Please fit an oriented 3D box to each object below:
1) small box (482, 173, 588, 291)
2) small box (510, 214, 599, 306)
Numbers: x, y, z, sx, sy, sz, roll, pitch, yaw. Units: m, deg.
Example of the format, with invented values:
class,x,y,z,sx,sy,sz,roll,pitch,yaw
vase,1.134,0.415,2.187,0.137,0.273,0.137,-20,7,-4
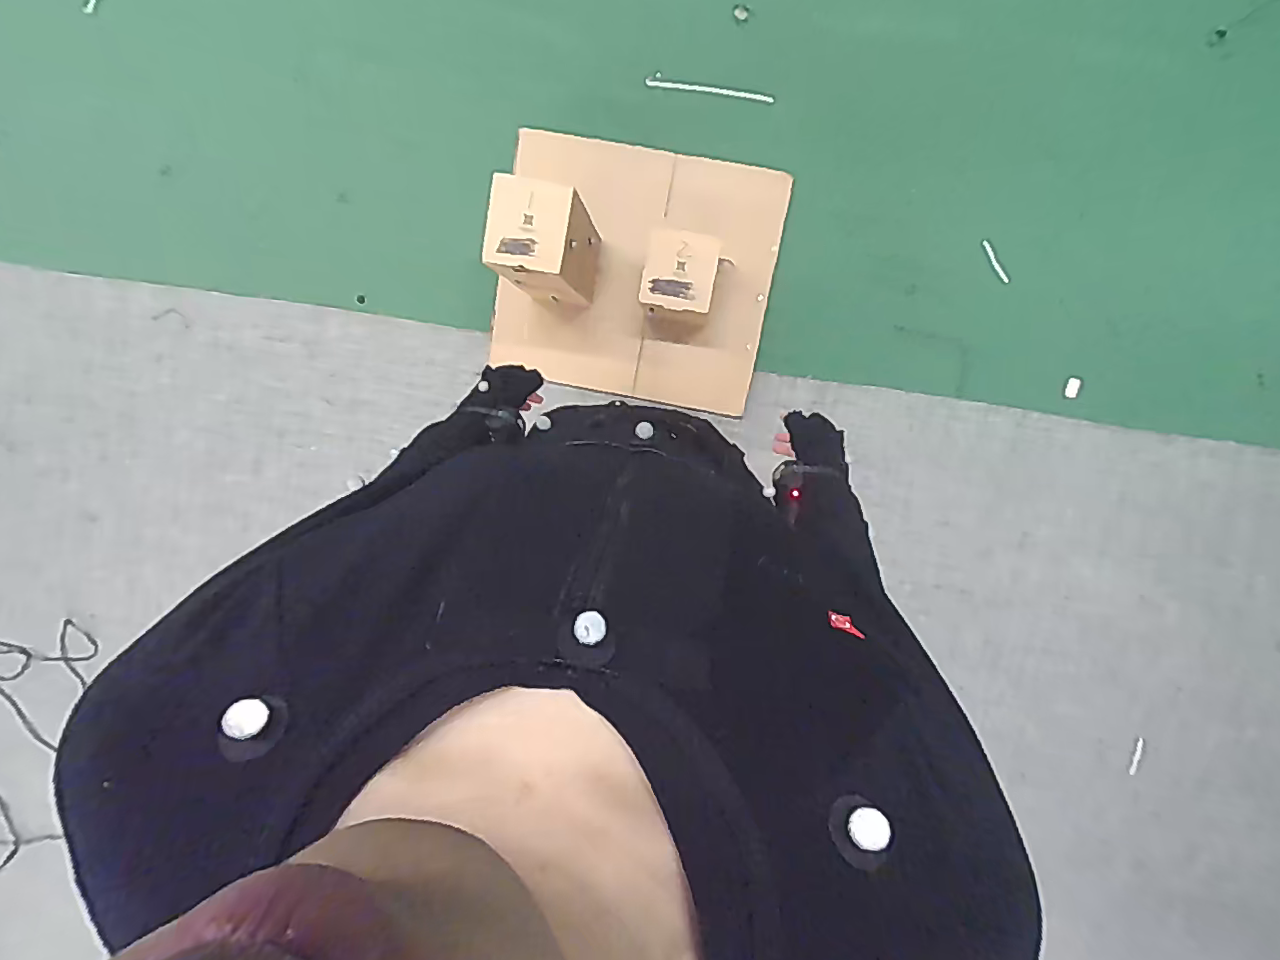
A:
class,x,y,z,sx,sy,sz,roll,pitch,yaw
small box,-0.215,-0.515,1.148,0.168,0.176,0.179,12,98,3
small box,-0.200,-0.536,1.310,0.168,0.176,0.179,10,99,4
